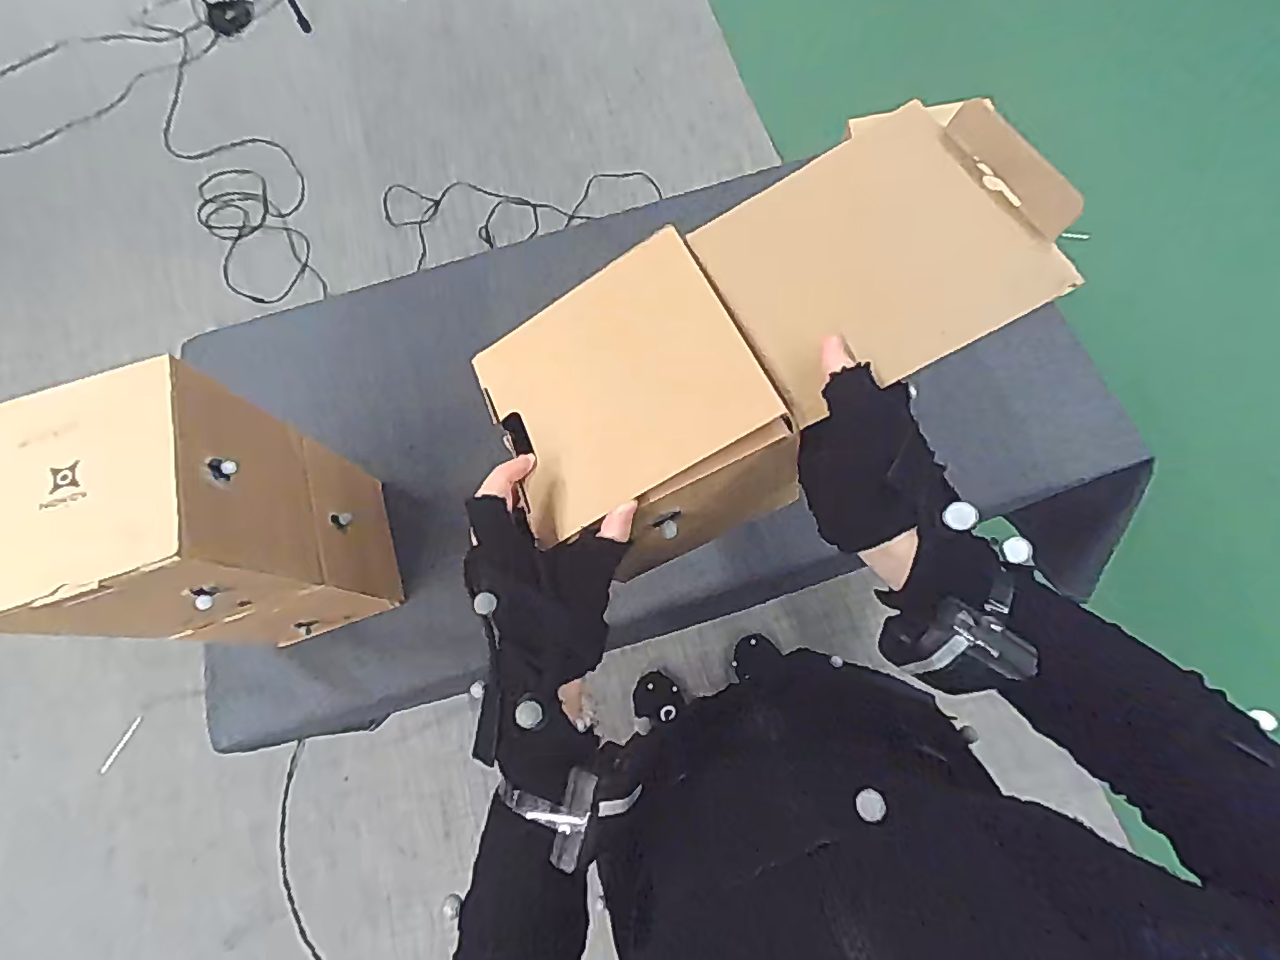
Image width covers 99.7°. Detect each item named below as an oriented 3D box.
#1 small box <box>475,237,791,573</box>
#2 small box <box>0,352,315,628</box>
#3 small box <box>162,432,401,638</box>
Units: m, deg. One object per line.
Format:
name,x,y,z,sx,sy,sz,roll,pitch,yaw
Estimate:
small box,0.006,-0.039,0.427,0.179,0.176,0.168,-27,69,7
small box,-0.418,0.023,0.476,0.168,0.176,0.179,-17,72,-3
small box,-0.407,0.074,0.630,0.168,0.176,0.179,-19,72,-3
